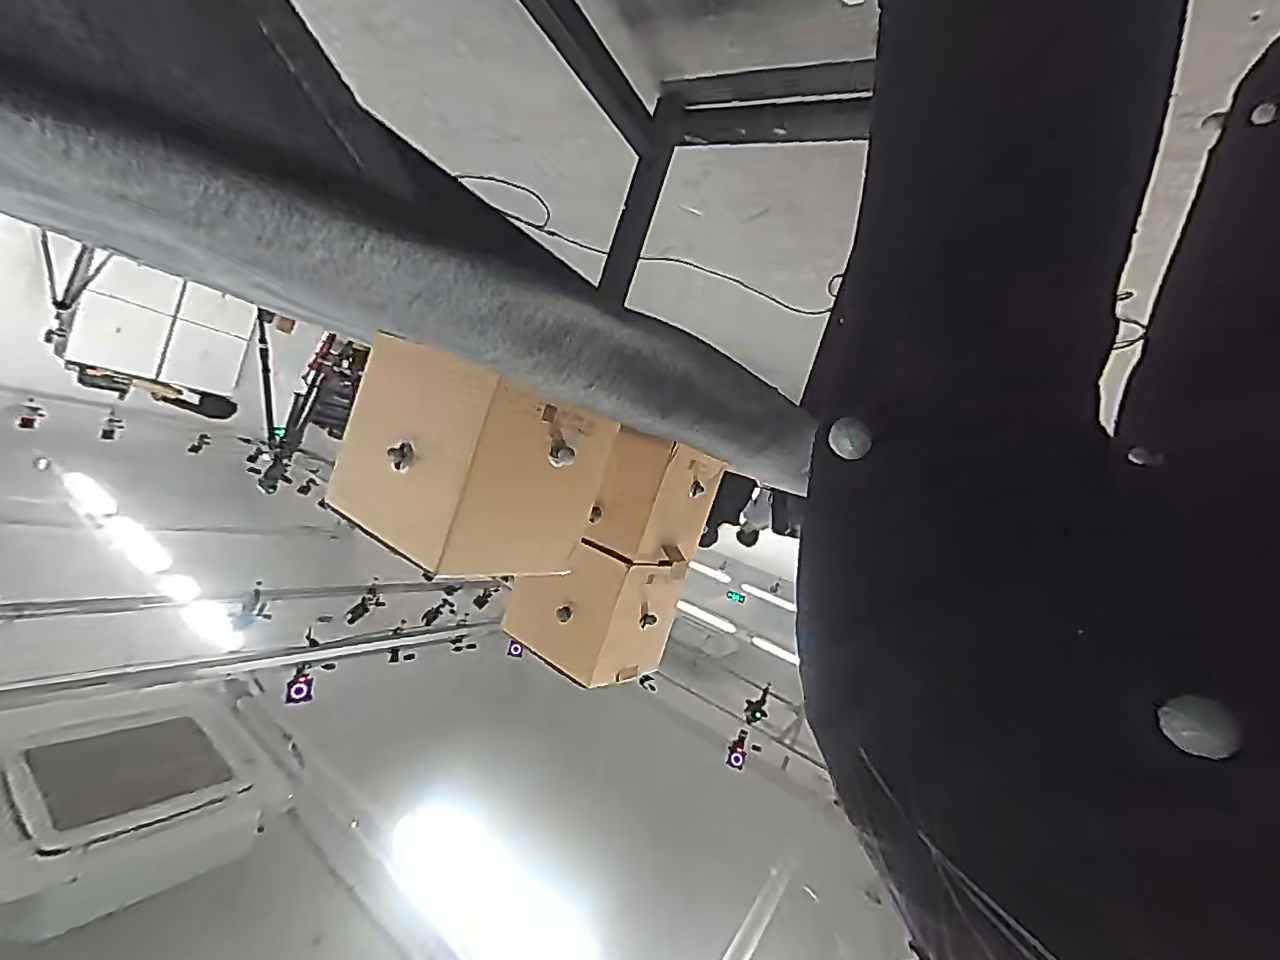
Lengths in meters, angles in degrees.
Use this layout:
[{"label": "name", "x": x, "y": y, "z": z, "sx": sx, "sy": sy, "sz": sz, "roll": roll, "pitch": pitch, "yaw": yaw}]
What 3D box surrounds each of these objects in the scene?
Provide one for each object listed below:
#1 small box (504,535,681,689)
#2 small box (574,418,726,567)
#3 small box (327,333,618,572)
[{"label": "small box", "x": -0.058, "y": 0.166, "z": 0.768, "sx": 0.179, "sy": 0.176, "sz": 0.168, "roll": 19, "pitch": -179, "yaw": 35}, {"label": "small box", "x": -0.005, "y": 0.011, "z": 0.768, "sx": 0.179, "sy": 0.176, "sz": 0.168, "roll": 20, "pitch": -178, "yaw": 33}, {"label": "small box", "x": -0.149, "y": -0.025, "z": 0.508, "sx": 0.179, "sy": 0.176, "sz": 0.168, "roll": 20, "pitch": -177, "yaw": 32}]
